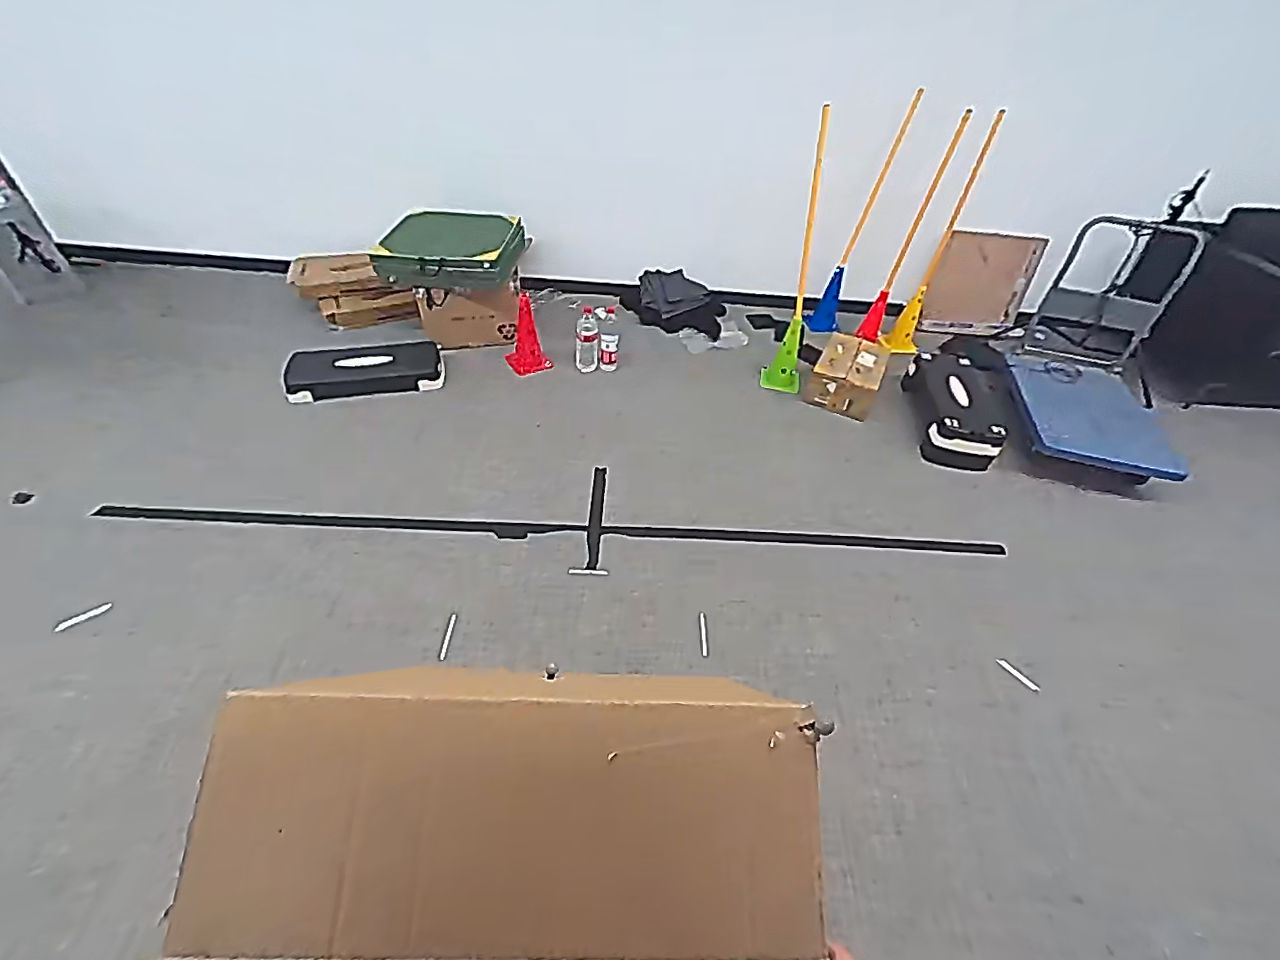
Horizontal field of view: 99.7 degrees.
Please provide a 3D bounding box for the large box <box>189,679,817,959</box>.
[{"bbox_3d":[-0.092,0.349,0.483,0.408,0.320,0.320,2,75,-3],"label":"large box"}]
